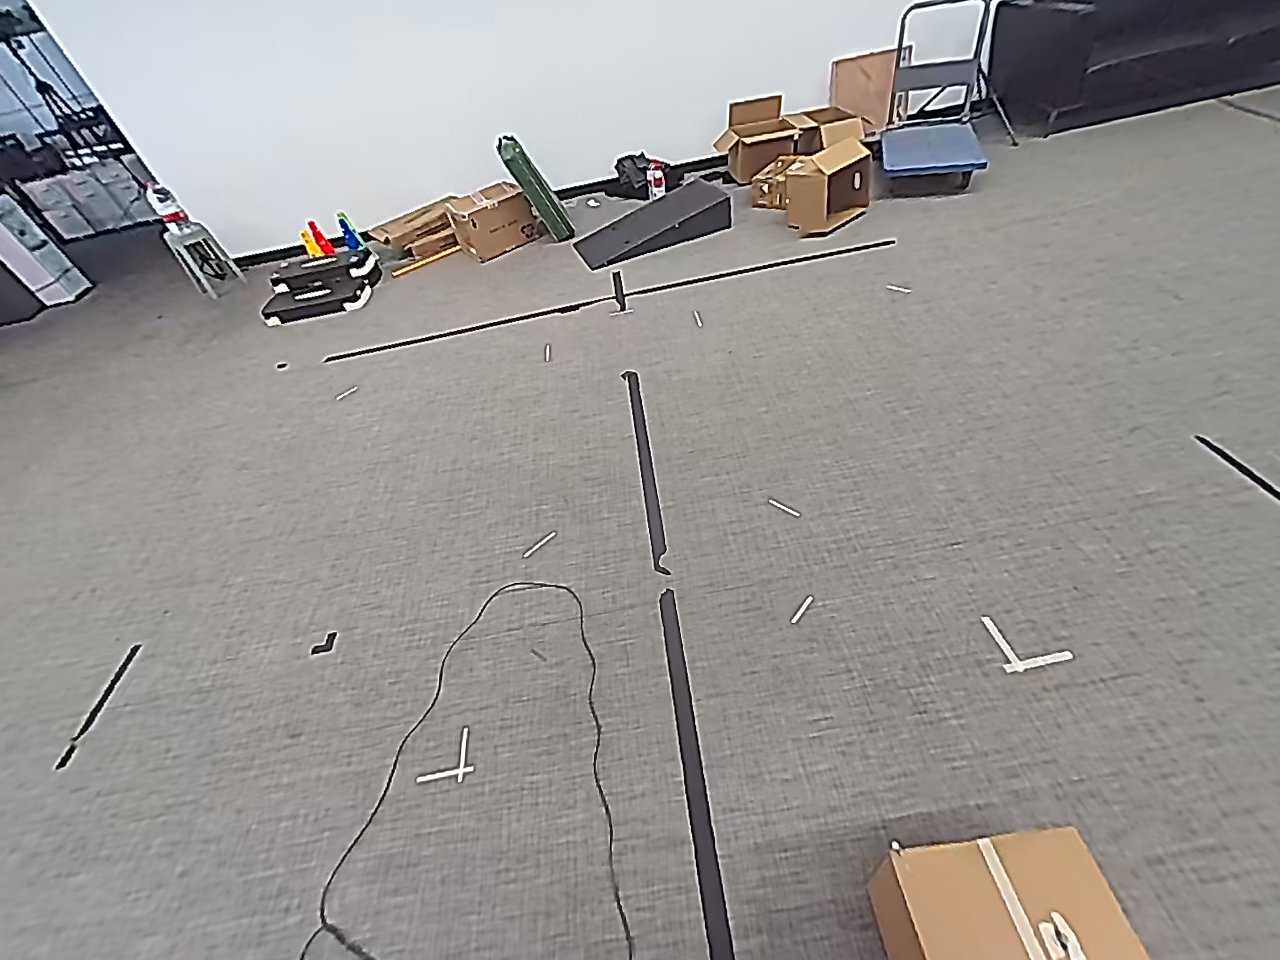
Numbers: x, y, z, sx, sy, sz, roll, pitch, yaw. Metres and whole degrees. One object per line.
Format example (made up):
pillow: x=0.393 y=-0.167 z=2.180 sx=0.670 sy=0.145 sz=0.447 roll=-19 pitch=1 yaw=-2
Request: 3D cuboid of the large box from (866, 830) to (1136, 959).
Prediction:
large box: x=0.615 y=0.867 z=0.891 sx=0.320 sy=0.320 sz=0.408 roll=-9 pitch=43 yaw=2
